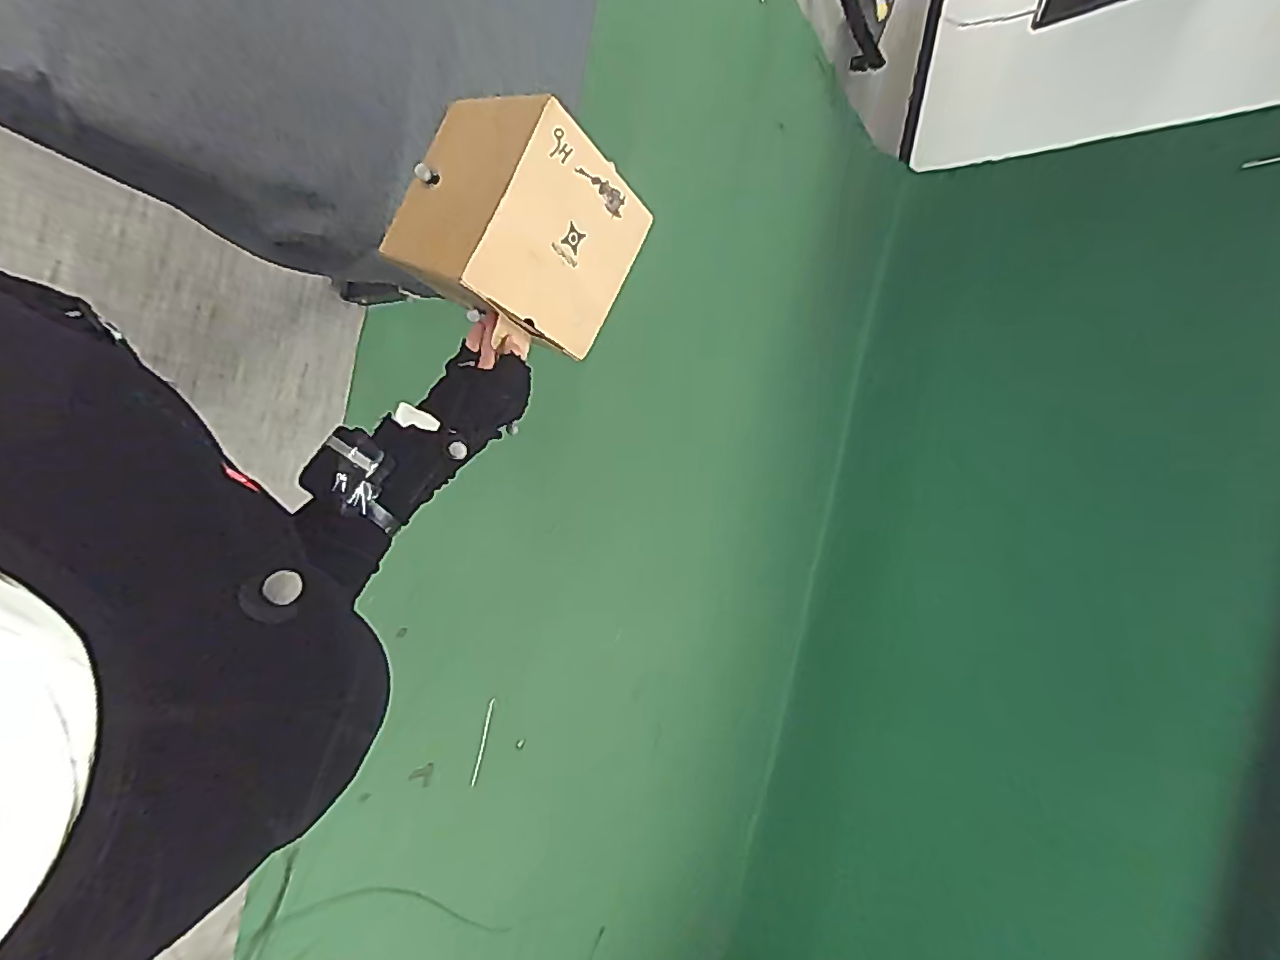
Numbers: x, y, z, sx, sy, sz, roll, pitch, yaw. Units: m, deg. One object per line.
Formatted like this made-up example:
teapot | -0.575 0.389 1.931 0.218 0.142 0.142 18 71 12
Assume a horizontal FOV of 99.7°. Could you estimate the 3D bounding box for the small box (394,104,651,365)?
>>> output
small box | -0.127 -0.252 0.568 0.168 0.176 0.179 25 94 -54
